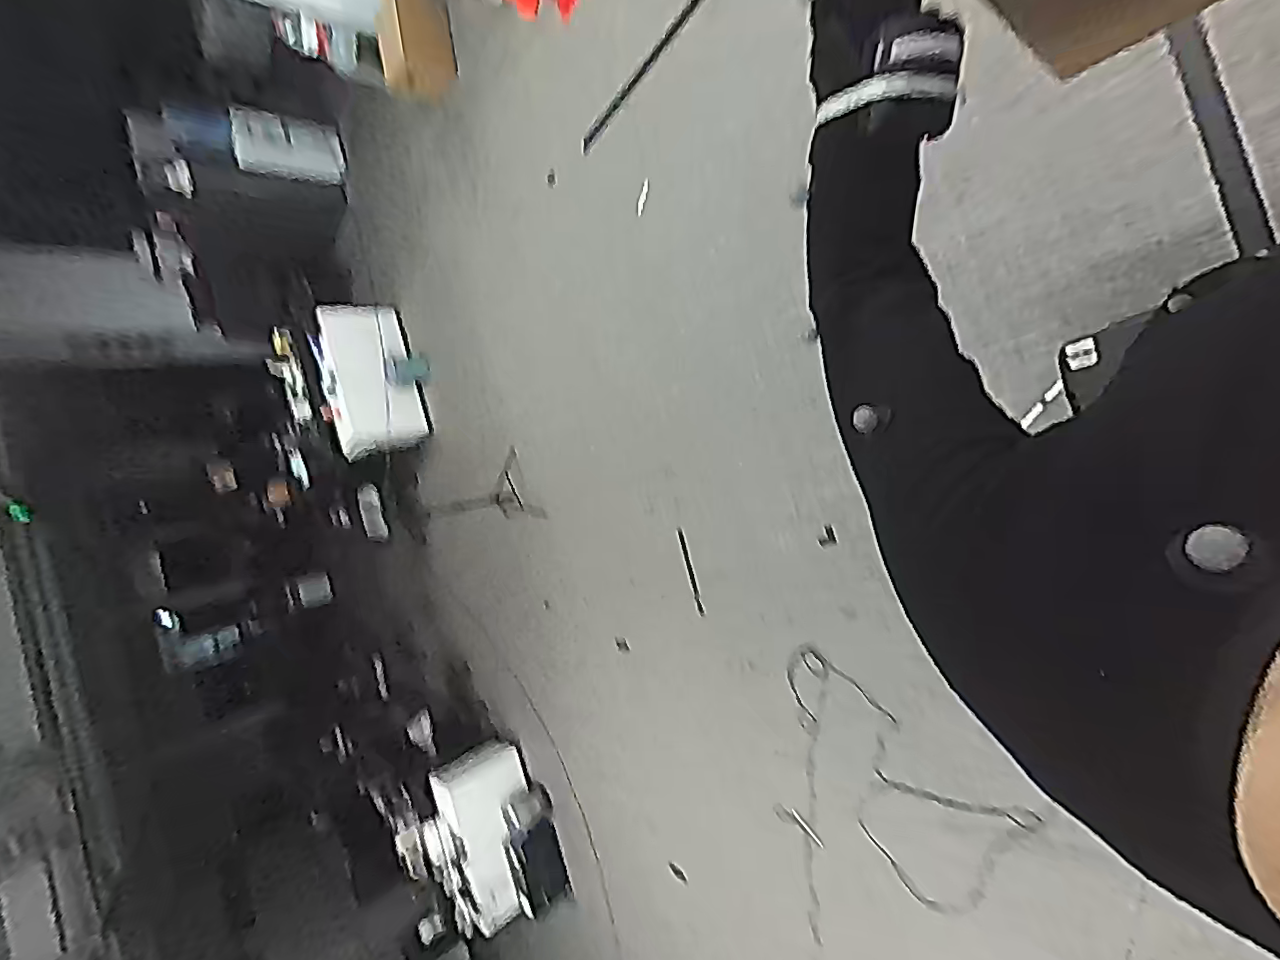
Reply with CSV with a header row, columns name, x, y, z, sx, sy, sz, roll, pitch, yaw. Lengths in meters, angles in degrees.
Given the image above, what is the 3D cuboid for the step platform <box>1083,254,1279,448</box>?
name,x,y,z,sx,sy,sz,roll,pitch,yaw
step platform,1.248,-0.289,0.976,0.684,0.204,0.286,-24,82,48

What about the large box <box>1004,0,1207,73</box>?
name,x,y,z,sx,sy,sz,roll,pitch,yaw
large box,0.396,-0.524,0.273,0.408,0.320,0.320,-9,98,49
